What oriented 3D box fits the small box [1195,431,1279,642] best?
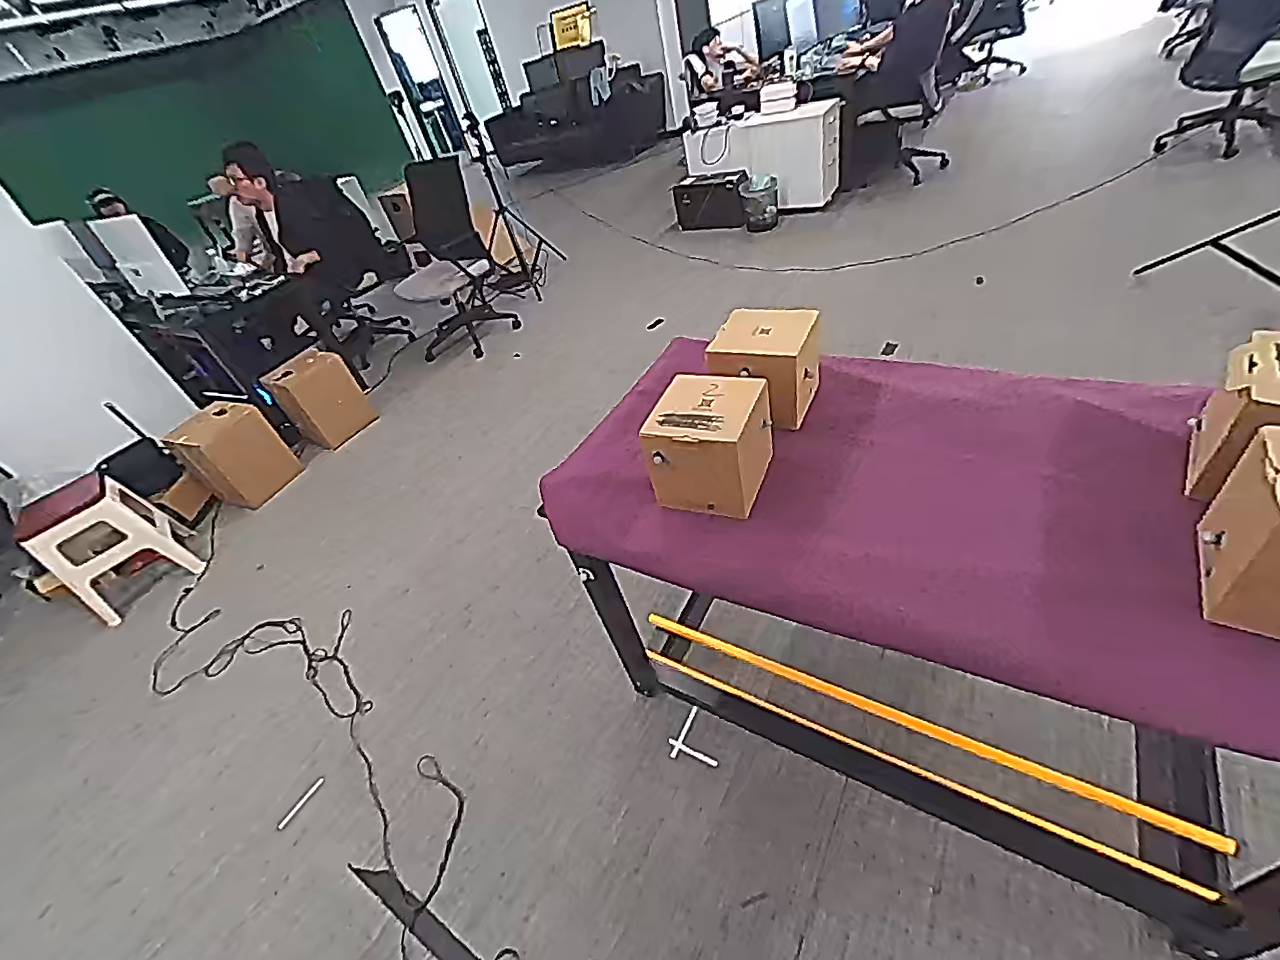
[{"bbox_3d":[0.747,0.075,0.575,0.179,0.176,0.168,15,48,32],"label":"small box"}]

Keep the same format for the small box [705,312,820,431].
[{"bbox_3d":[0.249,-0.215,1.072,0.179,0.176,0.168,10,47,28],"label":"small box"}]

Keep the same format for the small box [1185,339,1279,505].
[{"bbox_3d":[0.848,-0.056,0.689,0.179,0.176,0.168,20,54,34],"label":"small box"}]
